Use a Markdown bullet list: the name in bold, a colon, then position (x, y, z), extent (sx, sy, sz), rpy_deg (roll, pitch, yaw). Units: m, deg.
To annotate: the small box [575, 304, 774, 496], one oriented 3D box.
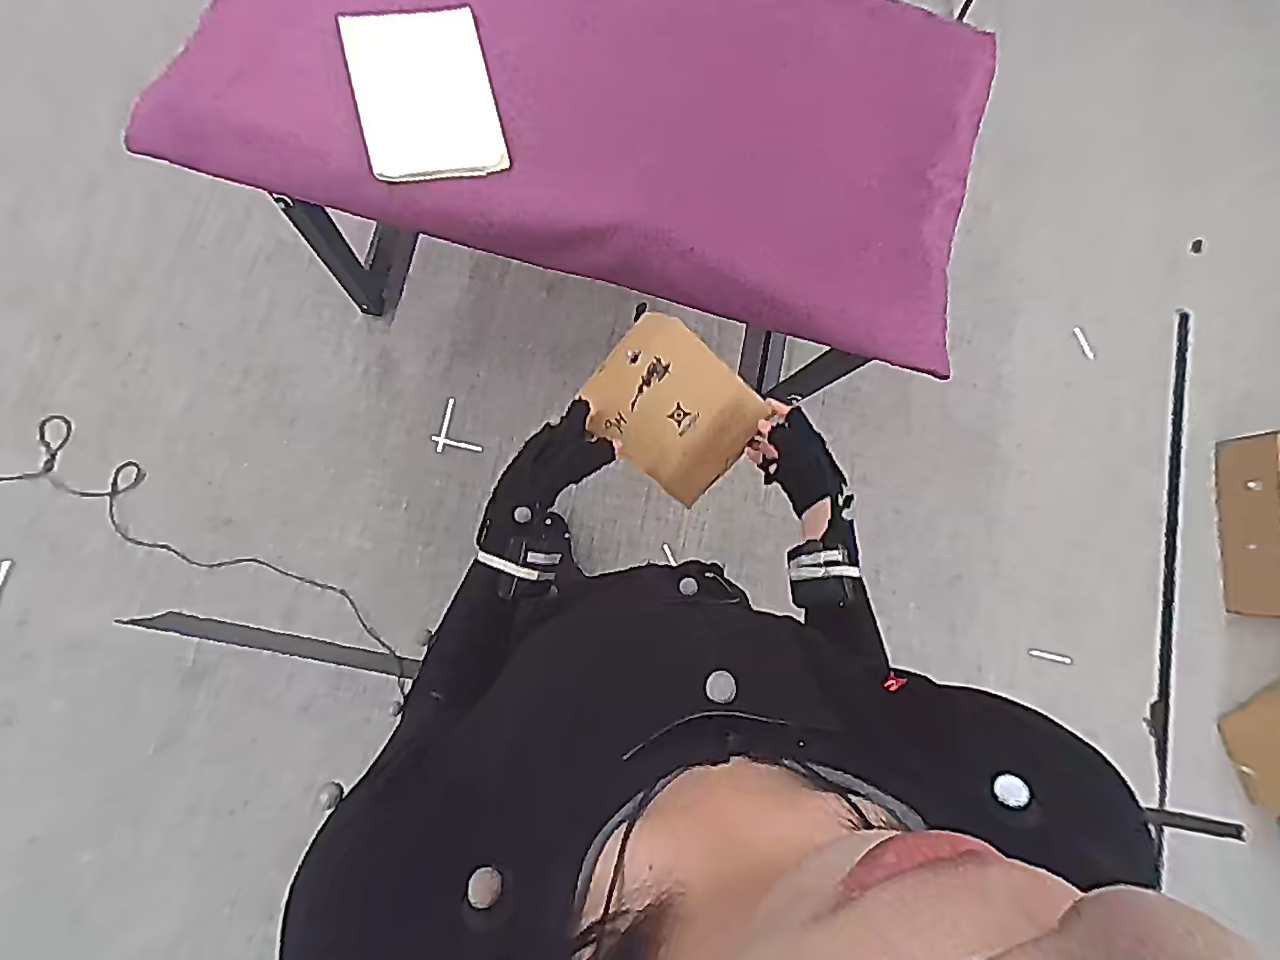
- **small box**: position (0.034, -0.114, 0.707), extent (0.179, 0.176, 0.168), rpy_deg (38, 99, -21)
